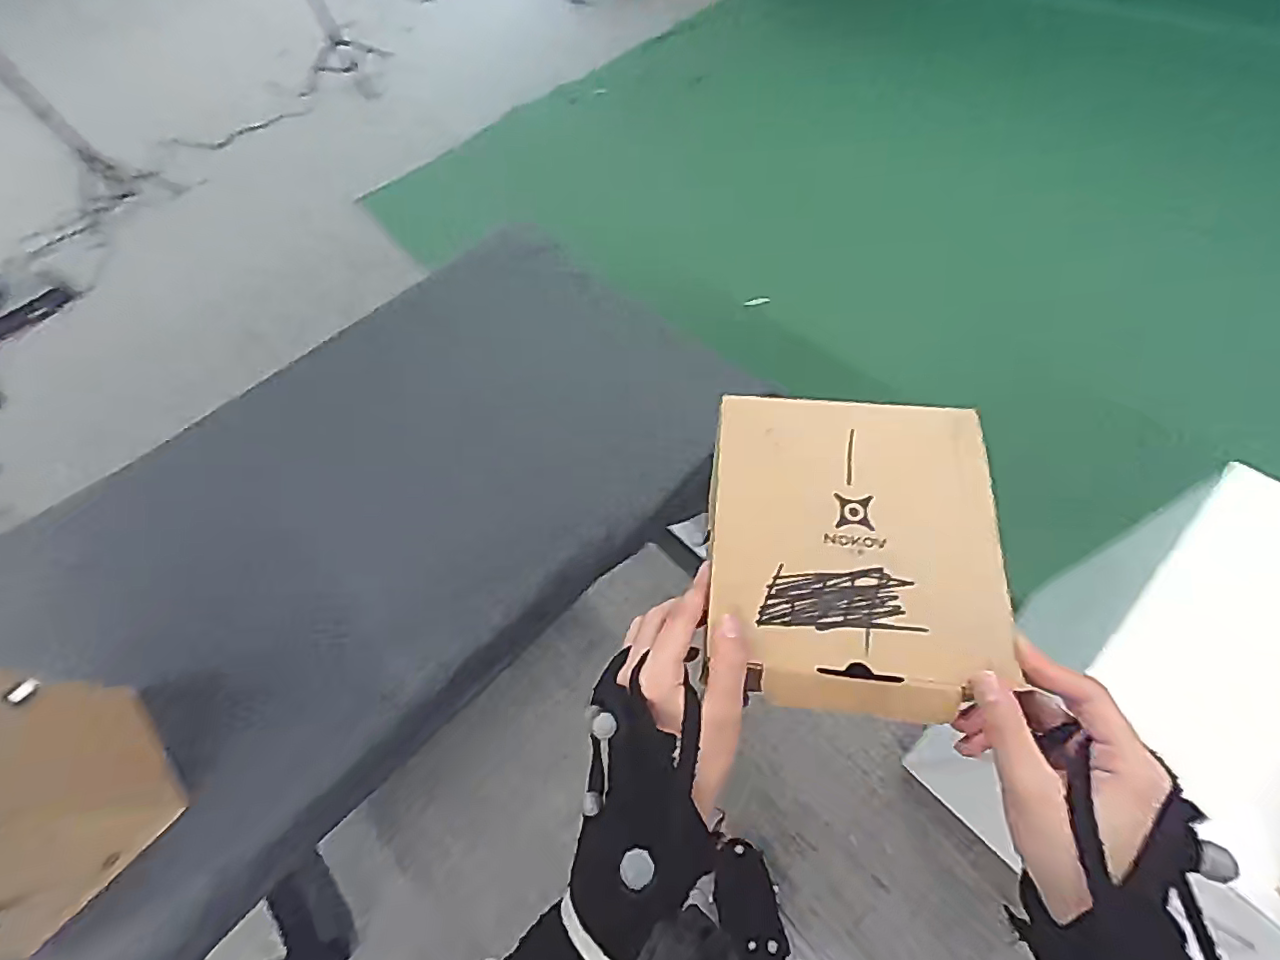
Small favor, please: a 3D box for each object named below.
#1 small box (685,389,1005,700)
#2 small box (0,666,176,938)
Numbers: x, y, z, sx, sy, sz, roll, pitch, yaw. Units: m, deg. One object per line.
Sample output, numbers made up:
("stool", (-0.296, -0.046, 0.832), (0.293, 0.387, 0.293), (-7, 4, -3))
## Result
("small box", (0.121, 0.057, 0.391), (0.168, 0.176, 0.179), (4, 65, 5))
("small box", (-0.590, 0.294, 0.497), (0.179, 0.176, 0.168), (37, 70, 25))
